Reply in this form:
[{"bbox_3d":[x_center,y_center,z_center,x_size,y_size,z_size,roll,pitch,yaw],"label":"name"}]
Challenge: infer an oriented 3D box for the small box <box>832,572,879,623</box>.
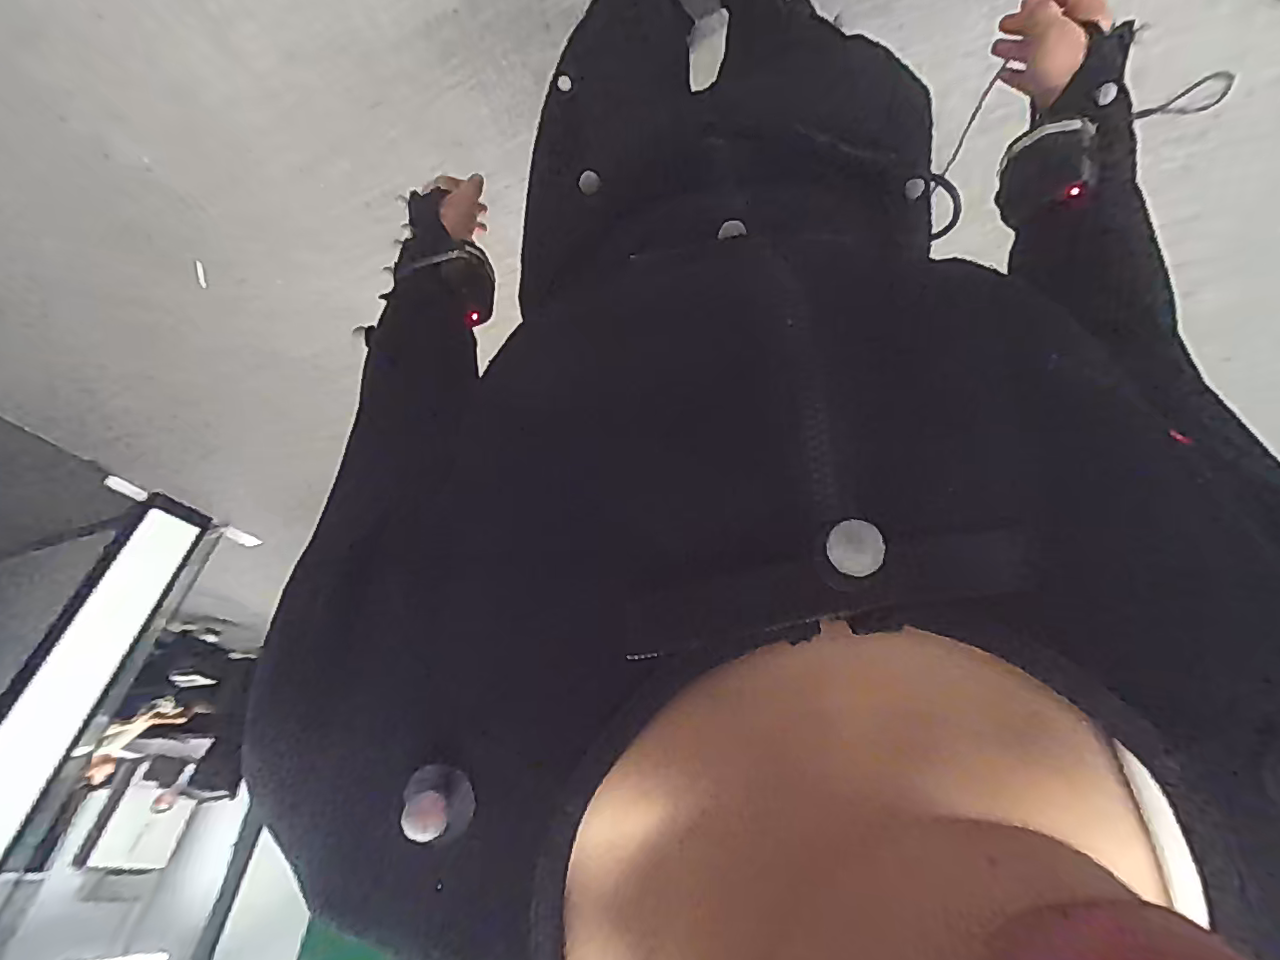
[{"bbox_3d":[0.951,0.515,2.388,0.168,0.176,0.179,-9,141,19],"label":"small box"}]
